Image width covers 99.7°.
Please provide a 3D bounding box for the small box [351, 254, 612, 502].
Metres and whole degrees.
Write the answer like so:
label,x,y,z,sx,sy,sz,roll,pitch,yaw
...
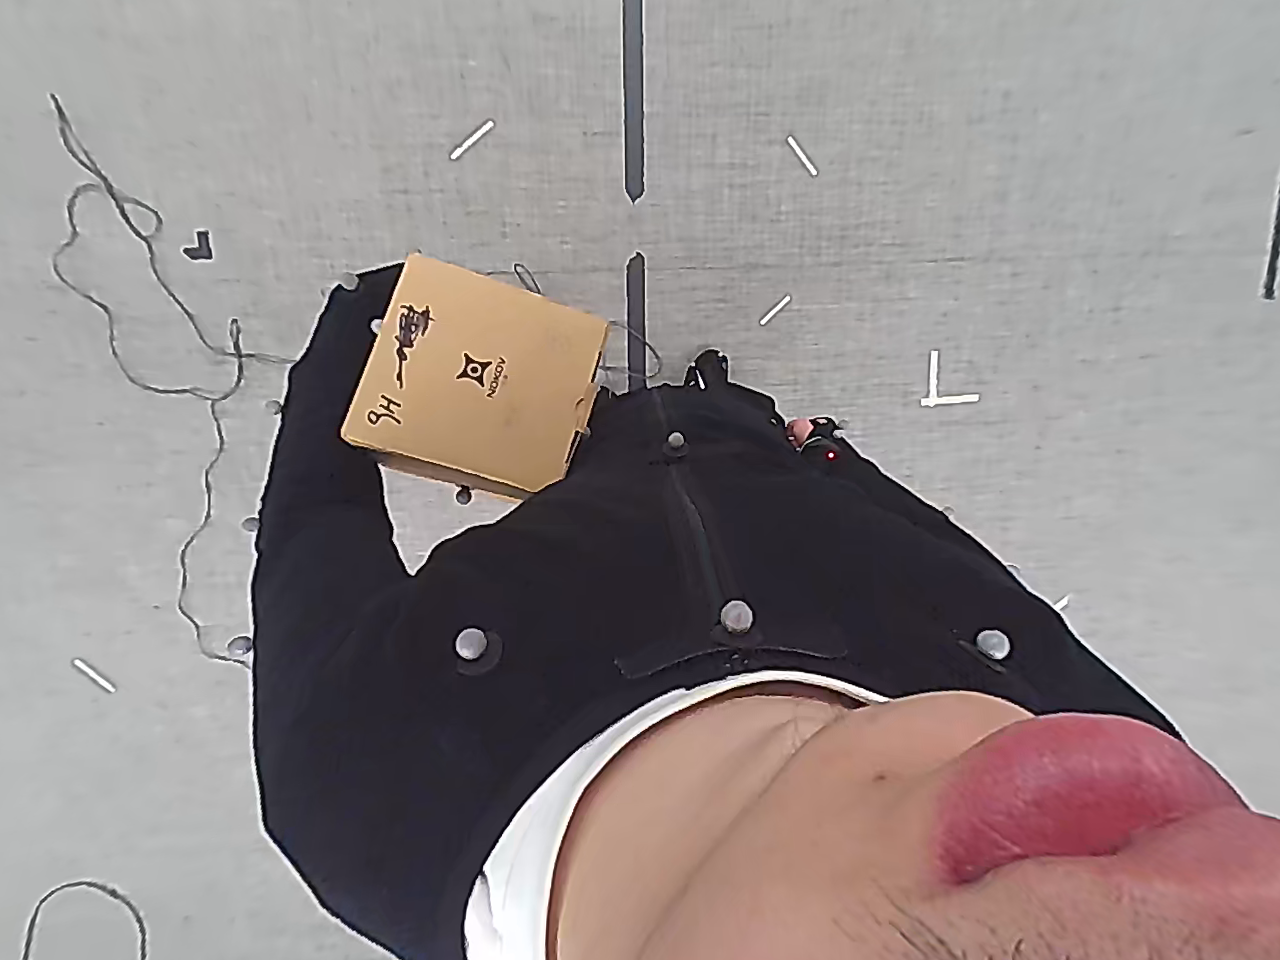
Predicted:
label,x,y,z,sx,sy,sz,roll,pitch,yaw
small box,-0.144,-0.079,0.529,0.179,0.176,0.168,17,79,-11
